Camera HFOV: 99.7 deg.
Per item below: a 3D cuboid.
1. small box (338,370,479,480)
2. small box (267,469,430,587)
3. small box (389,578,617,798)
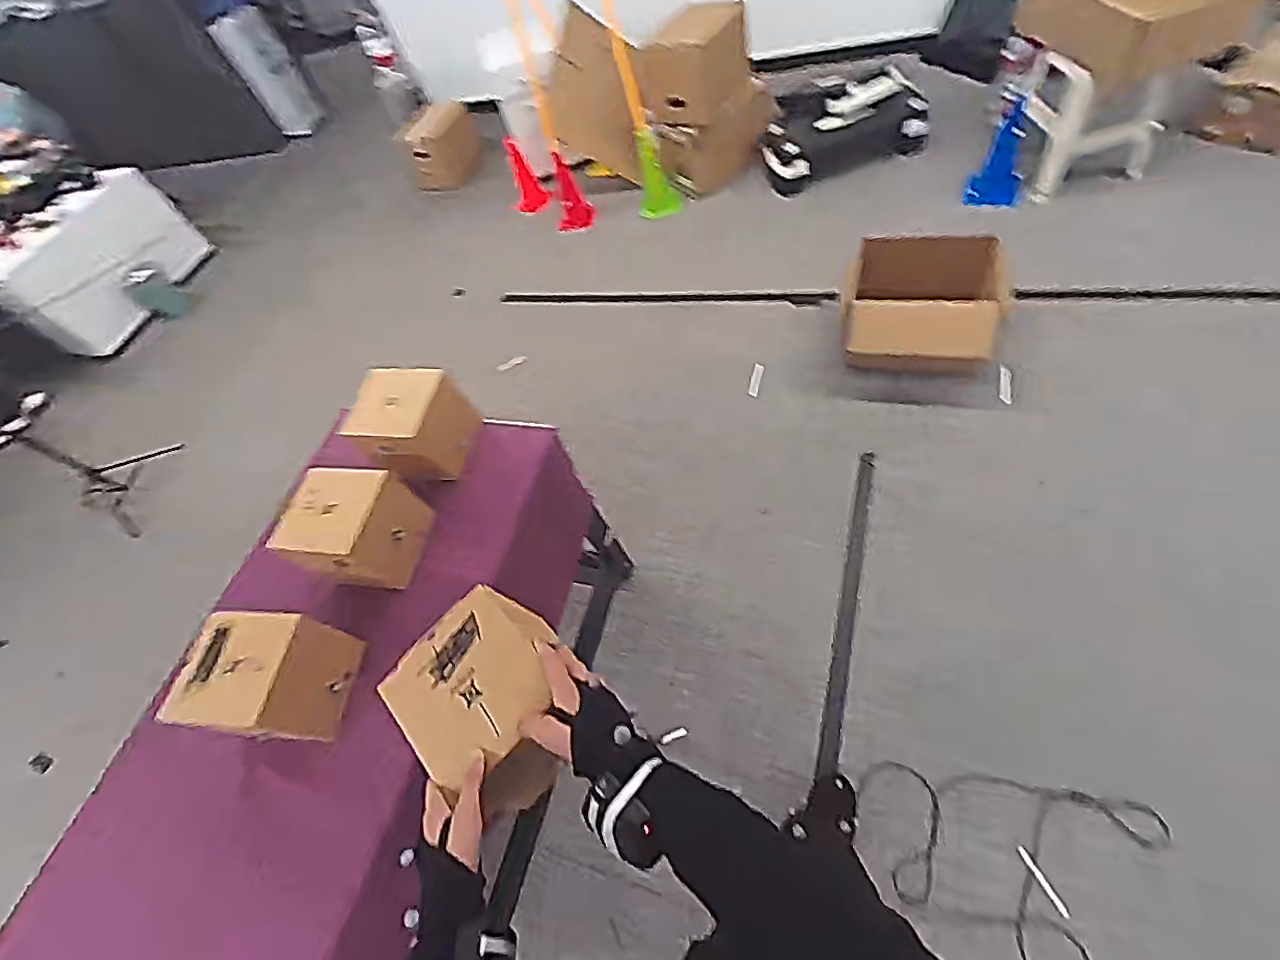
[{"bbox_3d":[-0.469,-0.111,1.122,0.179,0.176,0.168,3,62,19],"label":"small box"},{"bbox_3d":[-0.531,0.093,1.013,0.179,0.176,0.168,2,59,17],"label":"small box"},{"bbox_3d":[-0.158,0.257,0.663,0.168,0.176,0.179,-45,58,-9],"label":"small box"}]
